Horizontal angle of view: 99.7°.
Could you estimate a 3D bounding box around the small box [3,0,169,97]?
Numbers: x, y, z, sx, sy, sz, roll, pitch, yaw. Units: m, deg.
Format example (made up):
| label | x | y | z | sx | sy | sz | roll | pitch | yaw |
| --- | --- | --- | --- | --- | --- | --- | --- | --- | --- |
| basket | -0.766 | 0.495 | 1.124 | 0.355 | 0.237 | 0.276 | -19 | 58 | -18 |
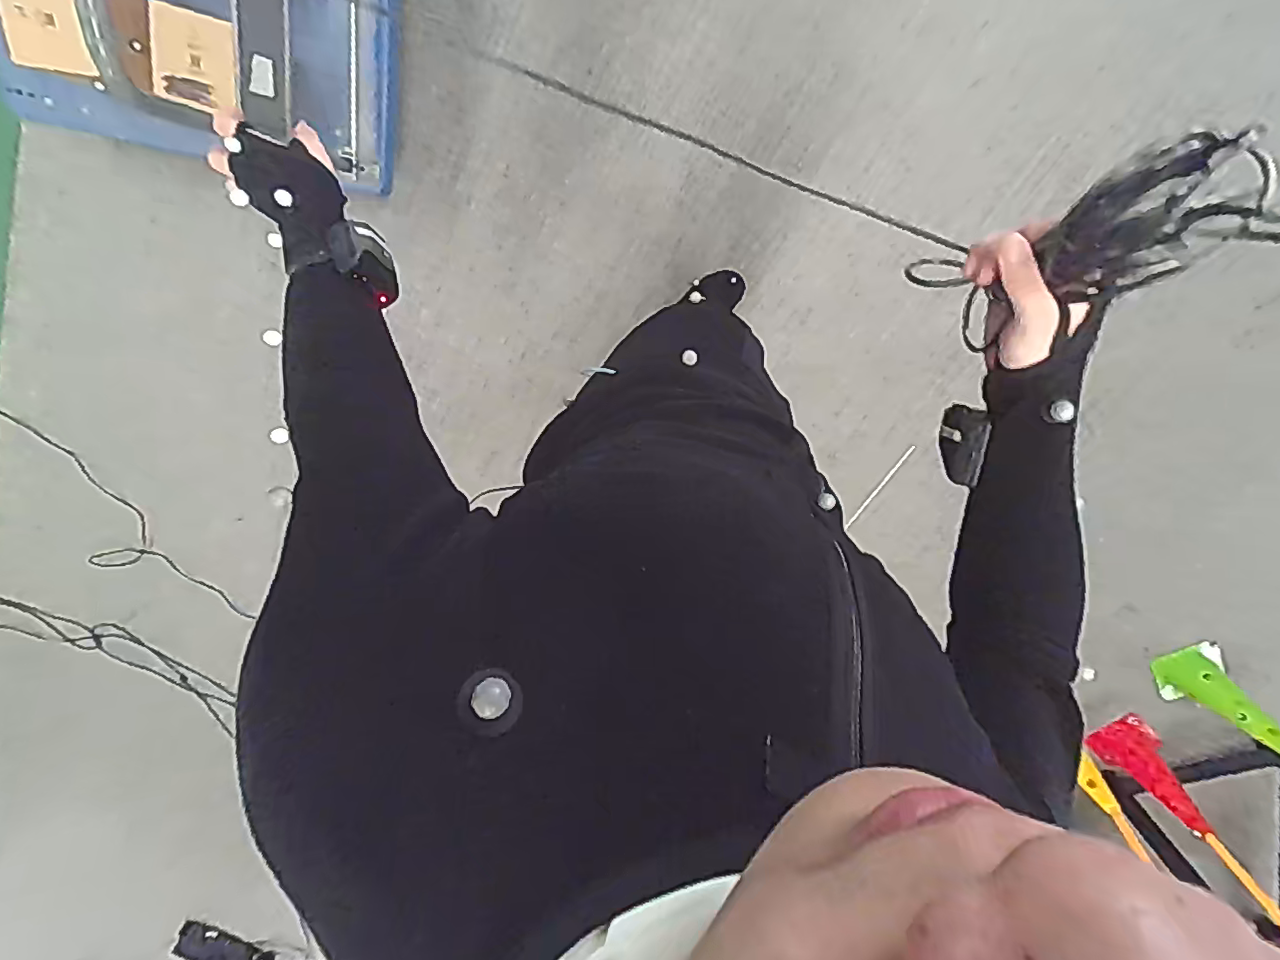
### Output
| label | x | y | z | sx | sy | sz | roll | pitch | yaw |
| --- | --- | --- | --- | --- | --- | --- | --- | --- | --- |
| small box | -1.103 | -0.900 | 1.091 | 0.179 | 0.176 | 0.168 | 8 | 112 | 0 |
